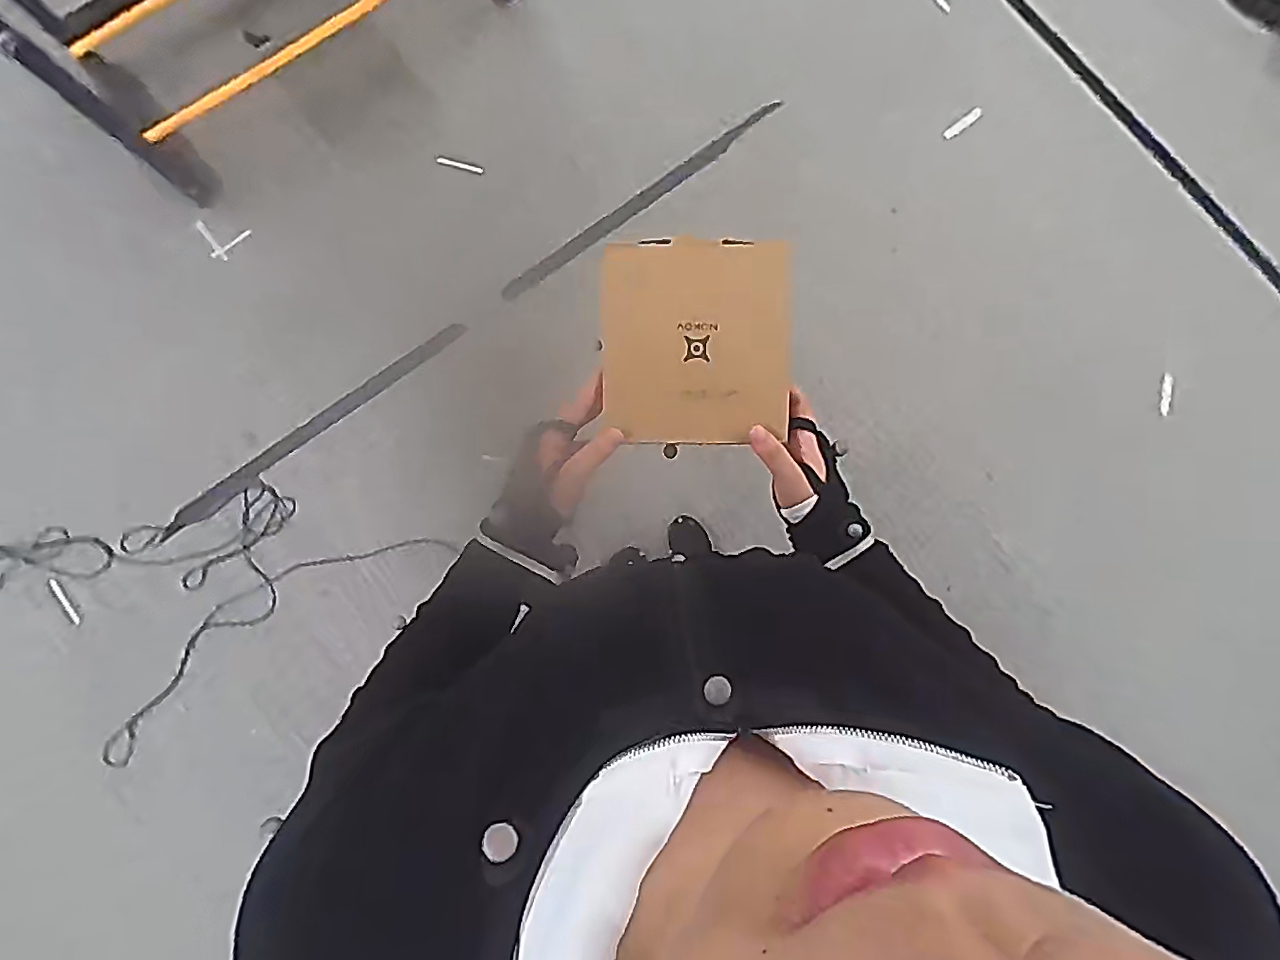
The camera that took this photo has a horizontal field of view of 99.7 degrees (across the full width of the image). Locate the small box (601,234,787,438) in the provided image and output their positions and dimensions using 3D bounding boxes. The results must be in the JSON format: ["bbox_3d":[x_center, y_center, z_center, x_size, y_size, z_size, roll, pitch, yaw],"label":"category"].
[{"bbox_3d":[0.045,-0.132,0.553,0.168,0.176,0.179,-1,95,-1],"label":"small box"}]
